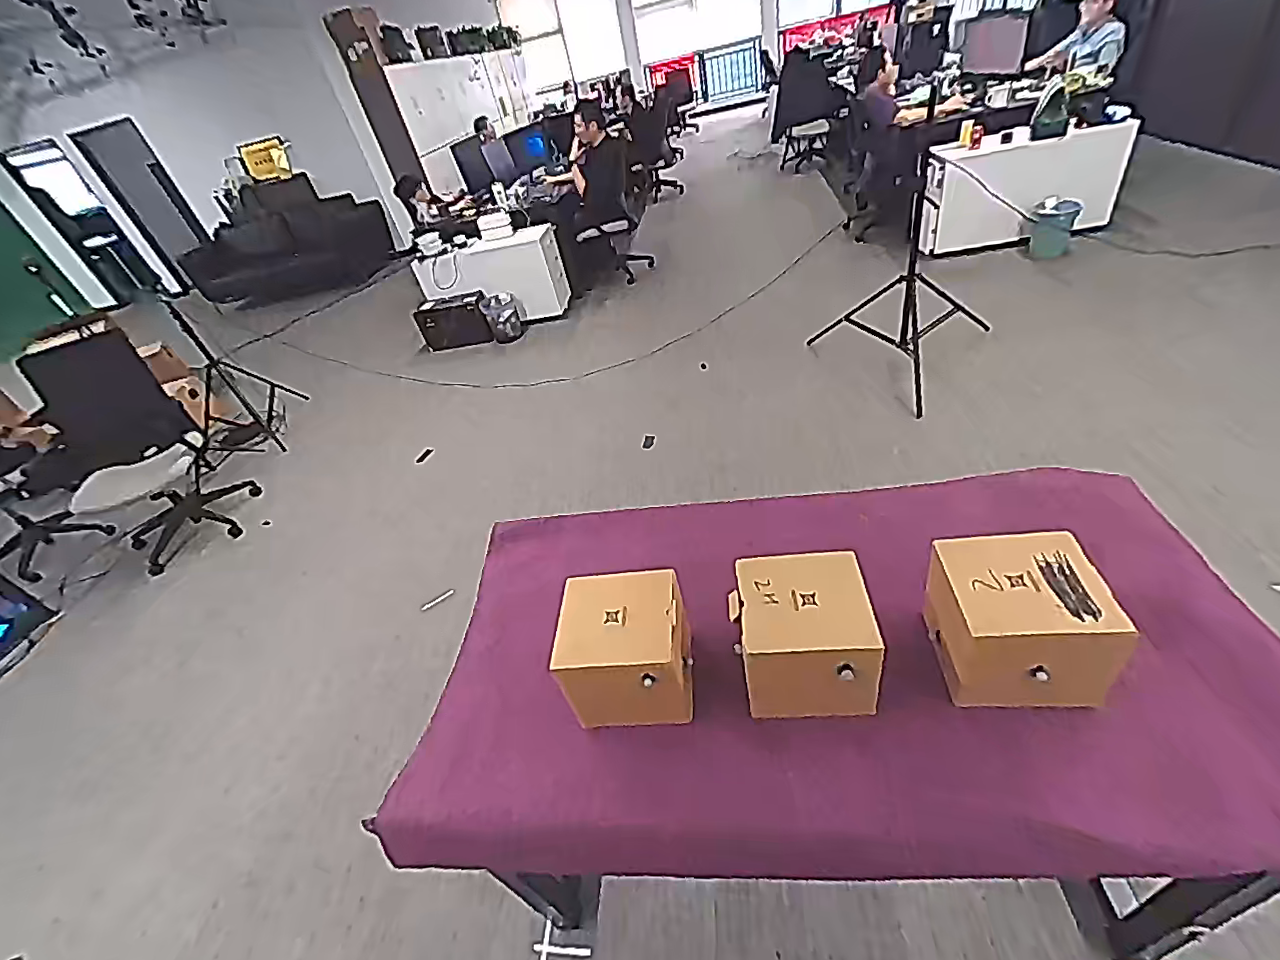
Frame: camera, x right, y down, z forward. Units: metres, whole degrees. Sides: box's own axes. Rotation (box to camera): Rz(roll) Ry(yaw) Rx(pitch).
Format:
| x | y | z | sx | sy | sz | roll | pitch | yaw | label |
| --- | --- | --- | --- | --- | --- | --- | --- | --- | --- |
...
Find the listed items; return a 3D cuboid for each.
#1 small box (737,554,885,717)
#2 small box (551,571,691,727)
| x | y | z | sx | sy | sz | roll | pitch | yaw | label |
| --- | --- | --- | --- | --- | --- | --- | --- | --- | --- |
| 0.241 | 0.230 | 0.794 | 0.179 | 0.176 | 0.168 | -7 | 38 | 11 | small box |
| -0.020 | 0.265 | 0.840 | 0.179 | 0.176 | 0.168 | -7 | 38 | 9 | small box |
